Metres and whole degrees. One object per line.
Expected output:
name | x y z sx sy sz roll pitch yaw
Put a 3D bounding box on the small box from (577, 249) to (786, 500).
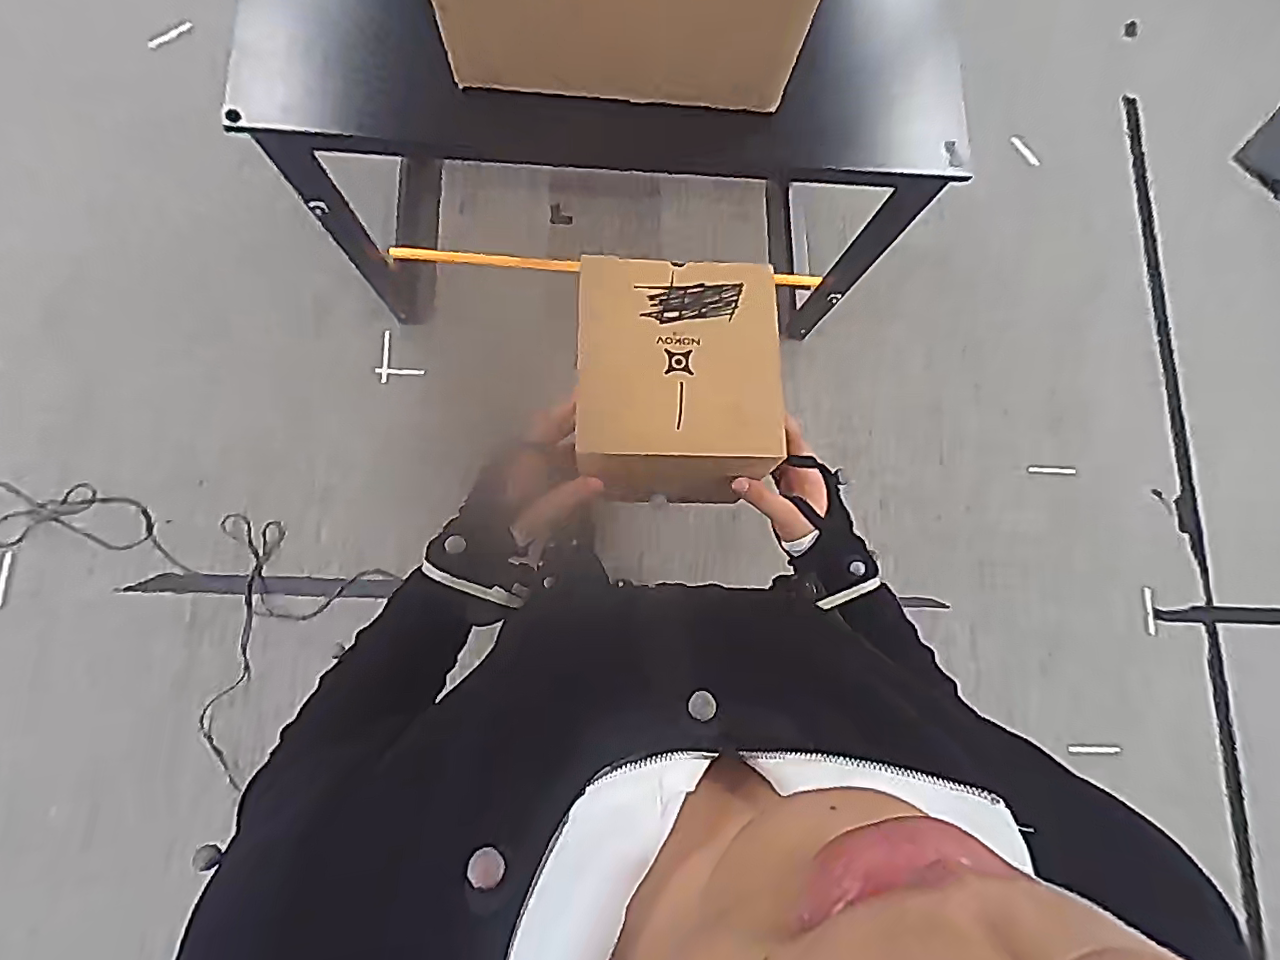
small box | 0.028 -0.087 0.513 0.168 0.176 0.179 1 74 -4
